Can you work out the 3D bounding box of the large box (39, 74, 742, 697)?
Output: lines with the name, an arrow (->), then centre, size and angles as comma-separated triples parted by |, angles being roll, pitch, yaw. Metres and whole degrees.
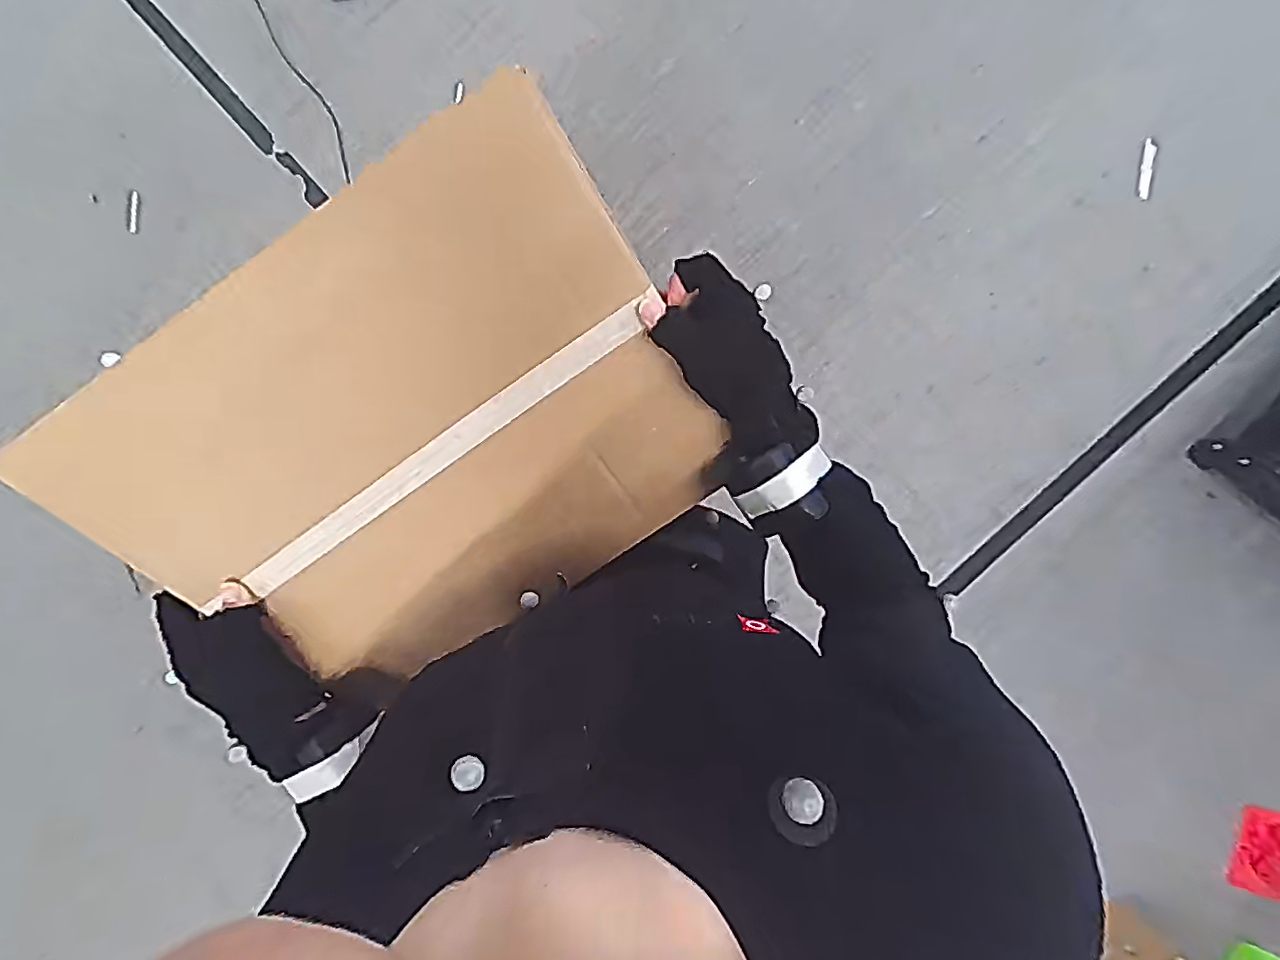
large box -> -0.183, -0.082, 0.533 | 0.408, 0.320, 0.320 | -34, 119, 5
